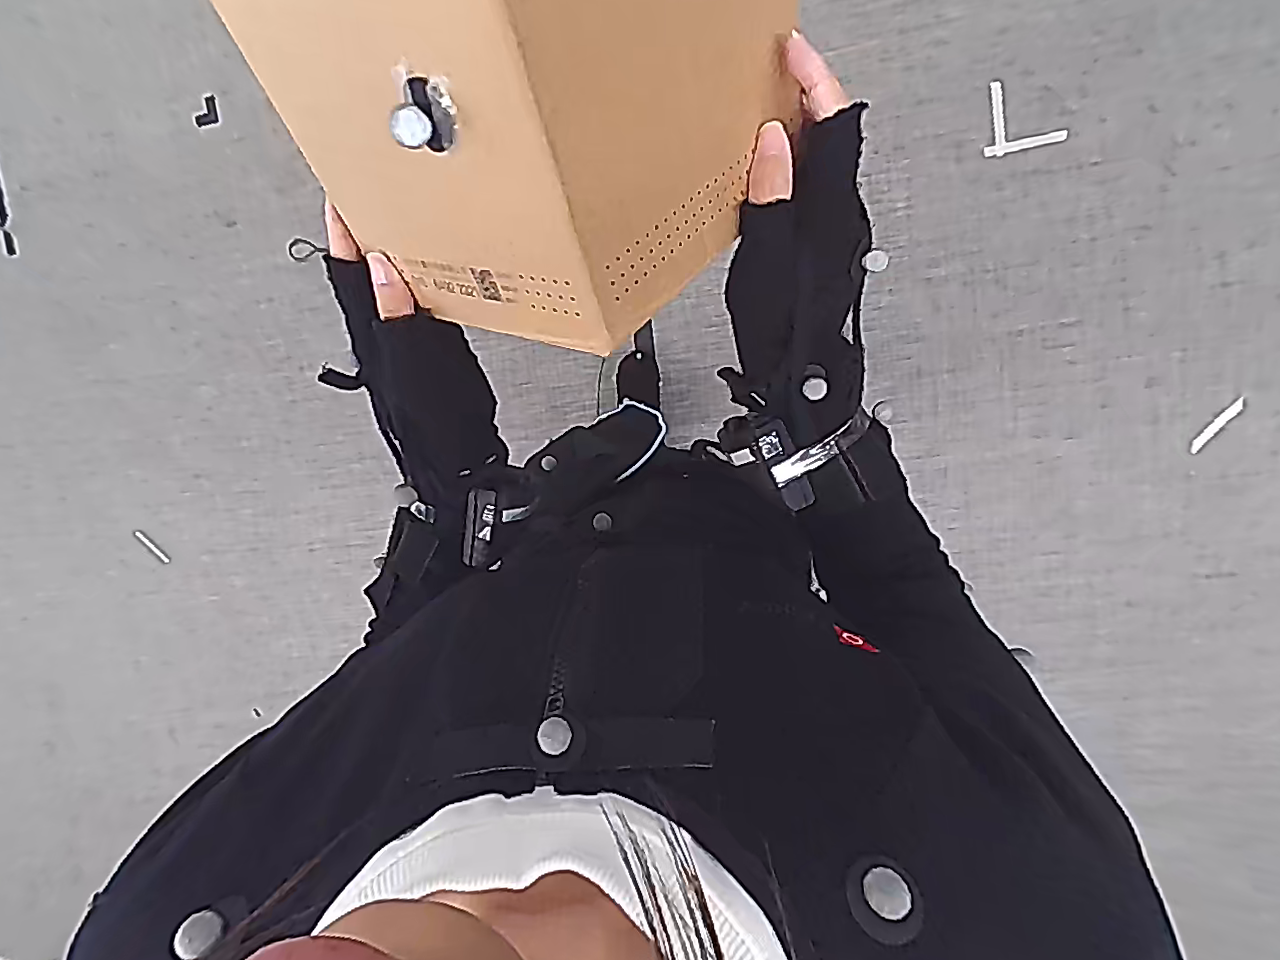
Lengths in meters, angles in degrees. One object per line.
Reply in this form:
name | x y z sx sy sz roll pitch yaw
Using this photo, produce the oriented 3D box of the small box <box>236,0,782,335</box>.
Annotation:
small box | -0.043 -0.193 0.261 0.168 0.176 0.179 23 58 35
